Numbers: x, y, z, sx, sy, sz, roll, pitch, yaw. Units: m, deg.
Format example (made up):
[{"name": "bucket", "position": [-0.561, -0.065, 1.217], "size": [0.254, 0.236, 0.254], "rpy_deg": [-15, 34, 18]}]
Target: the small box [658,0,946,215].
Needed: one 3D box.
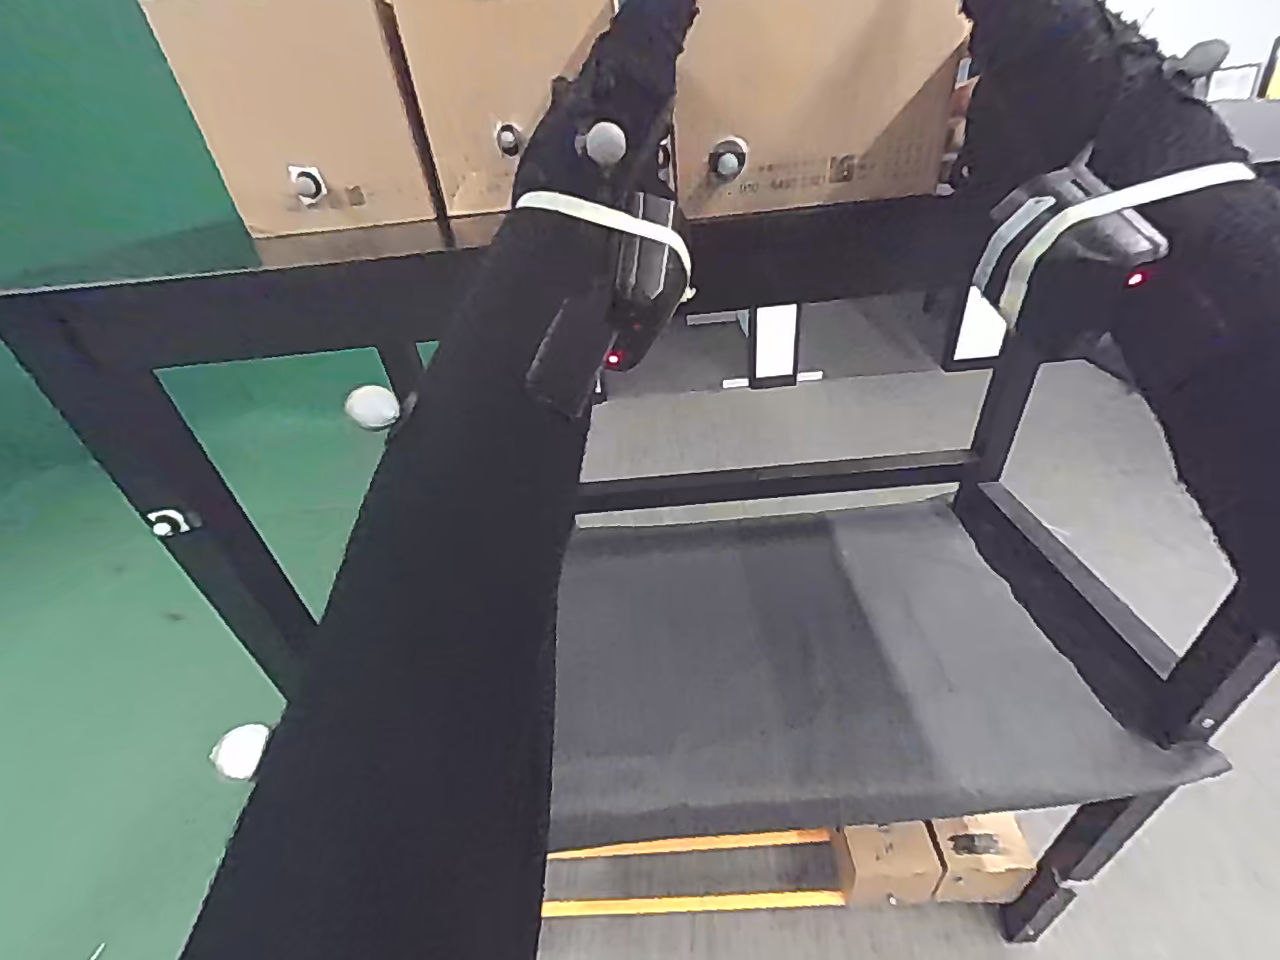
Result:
[{"name": "small box", "position": [0.099, -0.292, 0.383], "size": [0.168, 0.176, 0.179], "rpy_deg": [-3, 33, 5]}]
